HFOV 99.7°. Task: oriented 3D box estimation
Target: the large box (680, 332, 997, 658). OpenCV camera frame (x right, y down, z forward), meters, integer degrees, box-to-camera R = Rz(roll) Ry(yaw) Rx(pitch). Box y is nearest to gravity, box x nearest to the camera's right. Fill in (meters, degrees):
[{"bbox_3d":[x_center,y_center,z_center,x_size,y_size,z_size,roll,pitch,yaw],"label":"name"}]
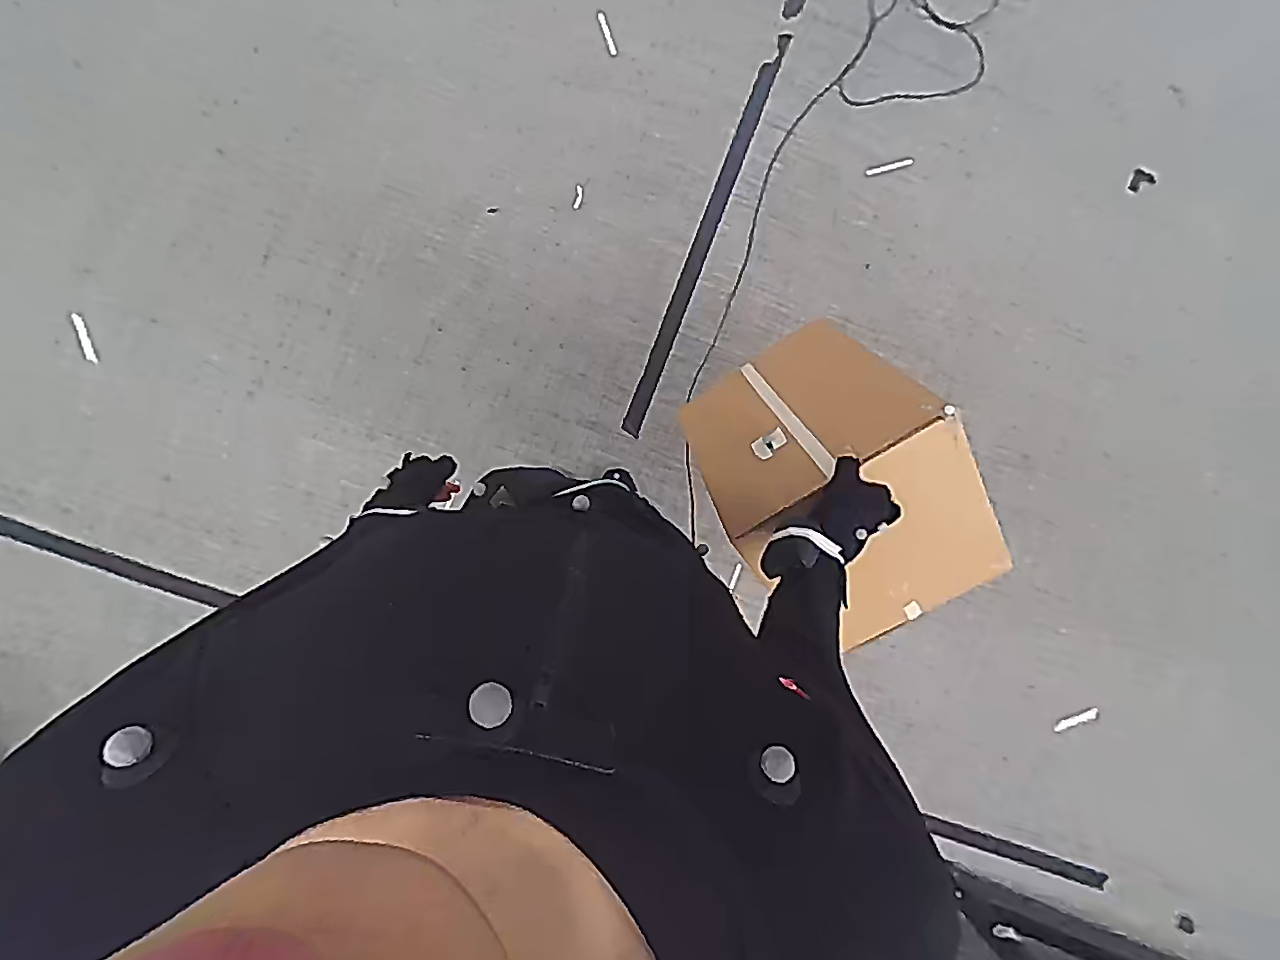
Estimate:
[{"bbox_3d":[0.306,0.009,0.922,0.320,0.408,0.320,-32,120,12],"label":"large box"}]
